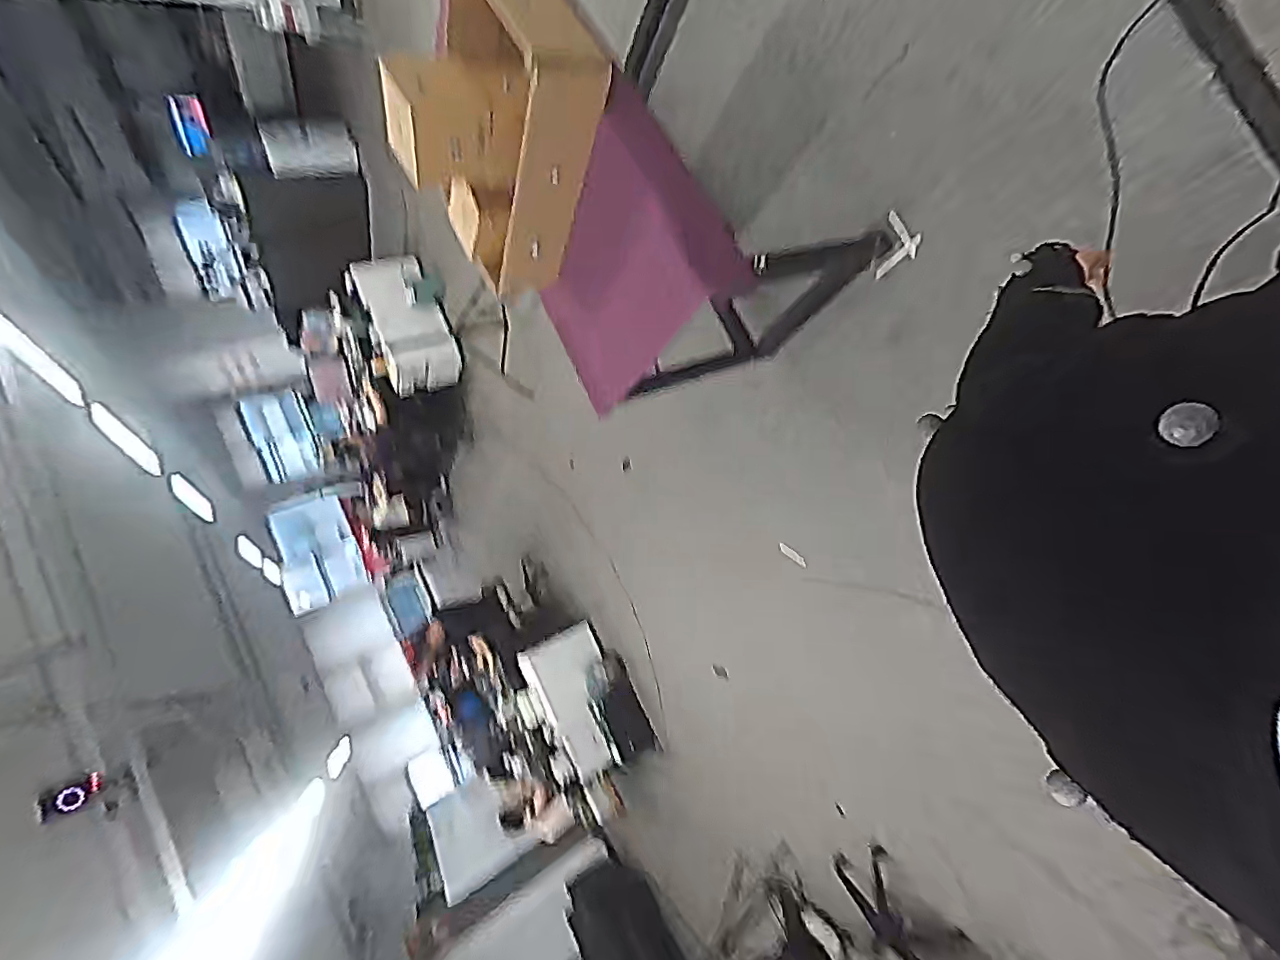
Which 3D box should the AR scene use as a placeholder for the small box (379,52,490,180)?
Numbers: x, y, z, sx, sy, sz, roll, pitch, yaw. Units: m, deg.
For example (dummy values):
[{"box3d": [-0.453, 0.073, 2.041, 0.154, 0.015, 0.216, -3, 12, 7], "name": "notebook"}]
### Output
[{"box3d": [-0.434, -0.783, 1.161, 0.179, 0.176, 0.168, 59, 152, 17], "name": "small box"}]
